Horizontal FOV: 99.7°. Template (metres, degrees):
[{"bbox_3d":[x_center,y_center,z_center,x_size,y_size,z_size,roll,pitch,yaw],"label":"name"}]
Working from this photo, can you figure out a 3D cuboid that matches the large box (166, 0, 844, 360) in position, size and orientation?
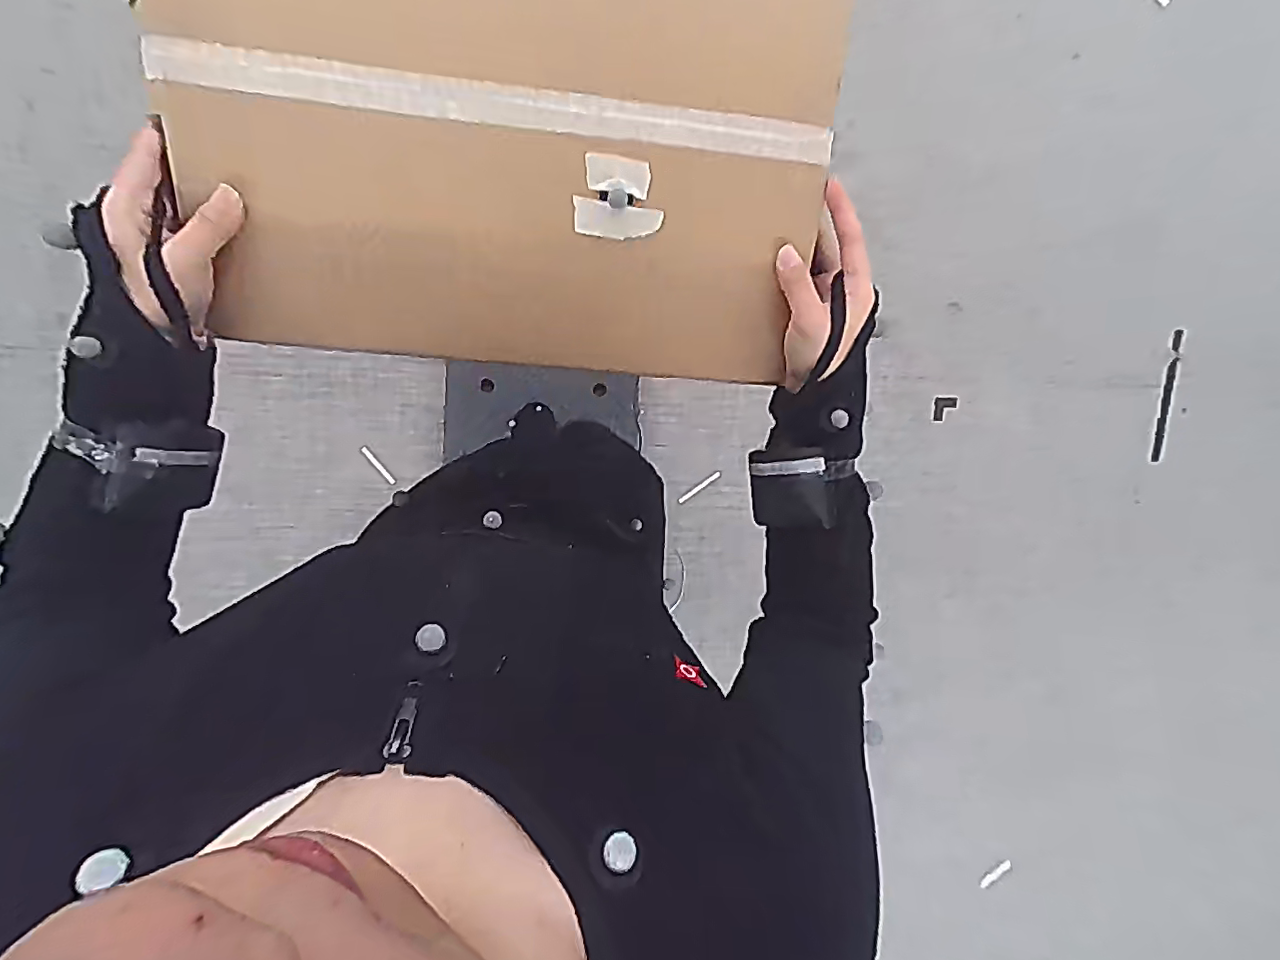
[{"bbox_3d":[-0.091,-0.294,0.476,0.408,0.320,0.320,3,111,-7],"label":"large box"}]
